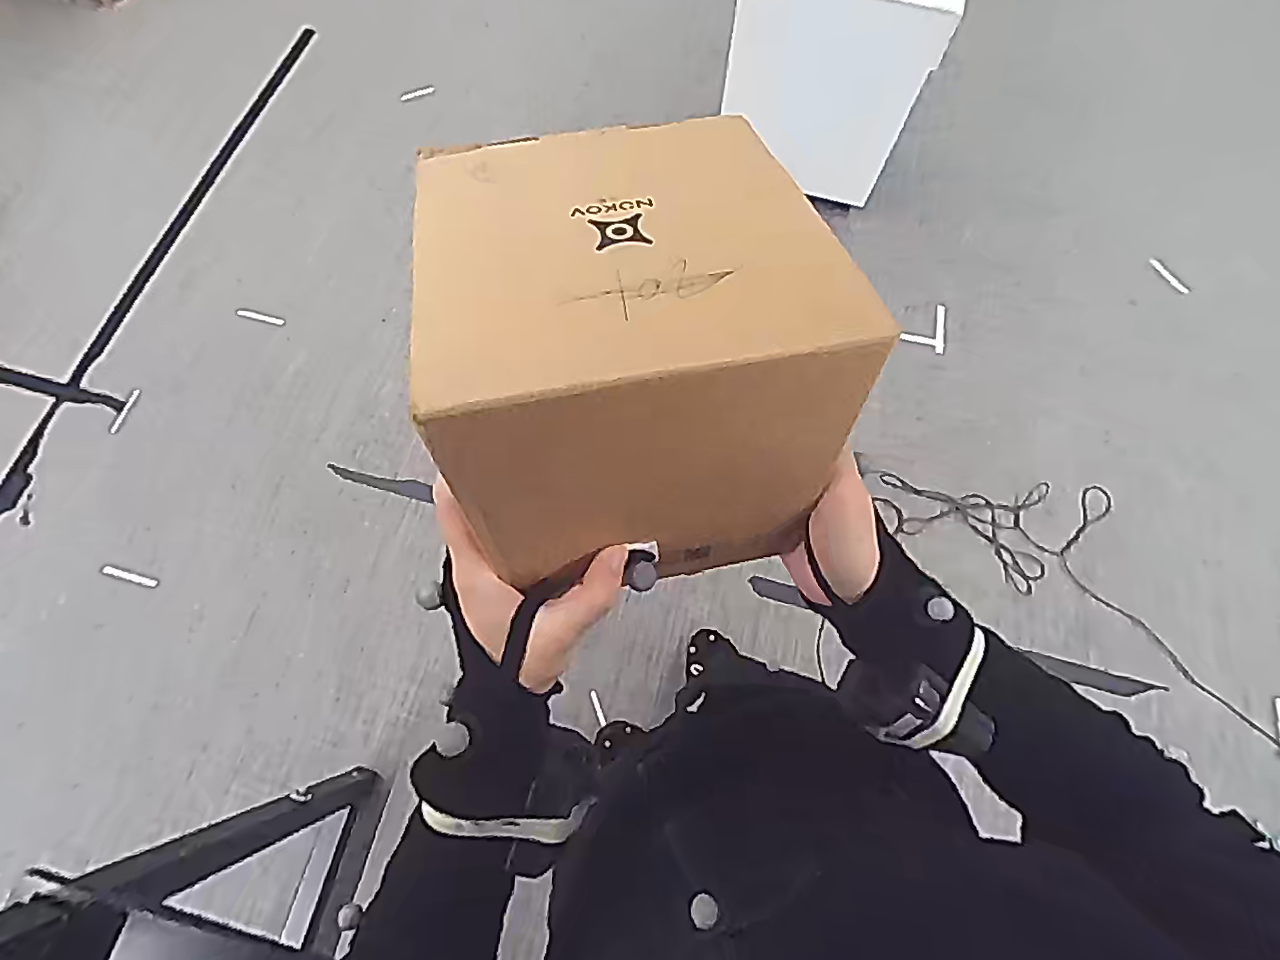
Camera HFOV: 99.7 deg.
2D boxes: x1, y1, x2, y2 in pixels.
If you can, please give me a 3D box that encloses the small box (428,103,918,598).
[{"bbox_3d":[-0.002,-0.062,0.286,0.168,0.176,0.179,-12,56,-6],"label":"small box"}]
